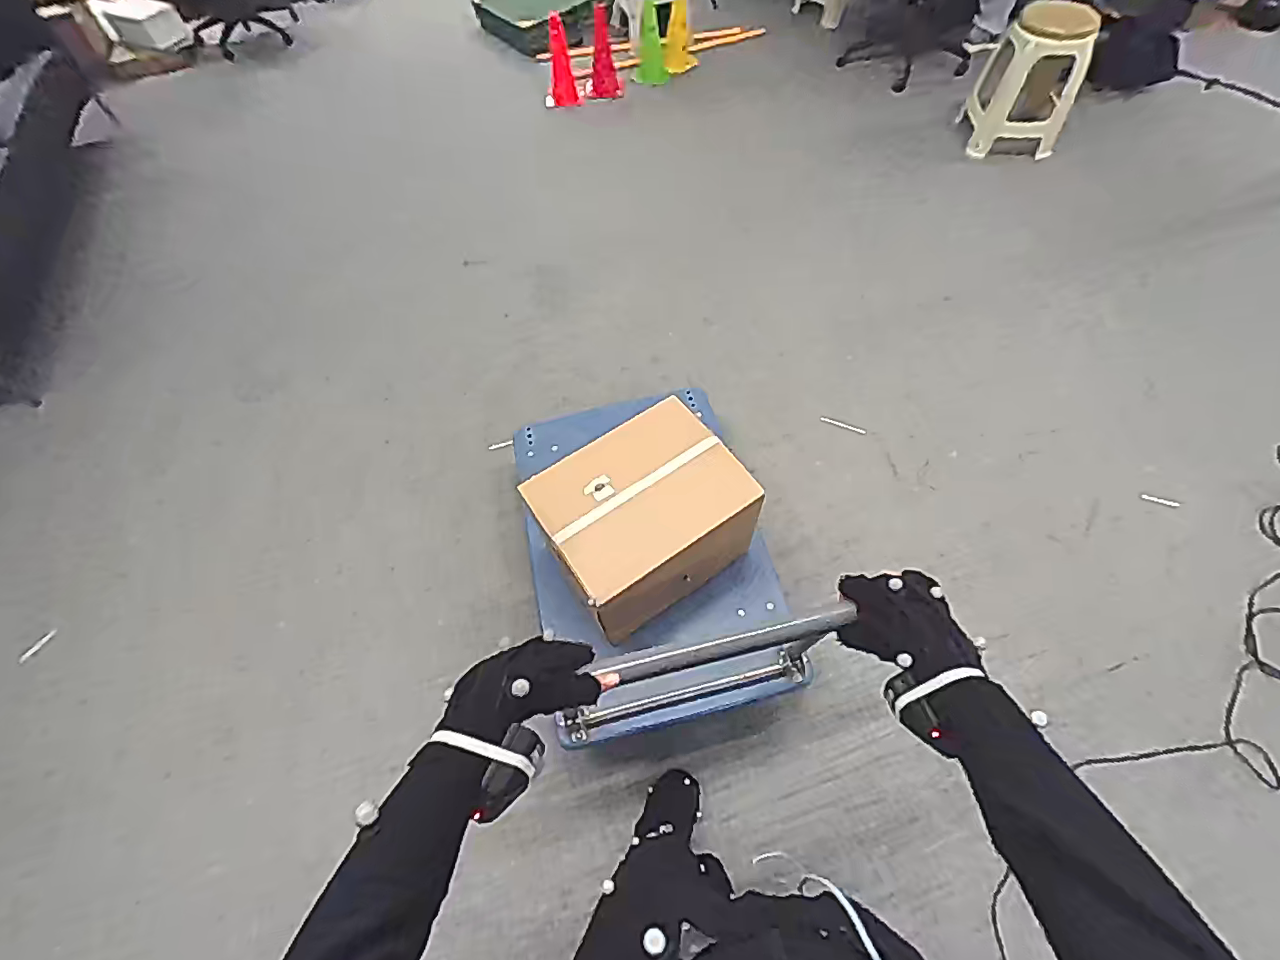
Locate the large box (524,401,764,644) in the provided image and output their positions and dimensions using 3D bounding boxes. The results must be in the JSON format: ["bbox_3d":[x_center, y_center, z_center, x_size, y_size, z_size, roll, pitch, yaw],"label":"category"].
[{"bbox_3d":[0.014,0.103,1.226,0.408,0.320,0.320,-33,63,-14],"label":"large box"}]
